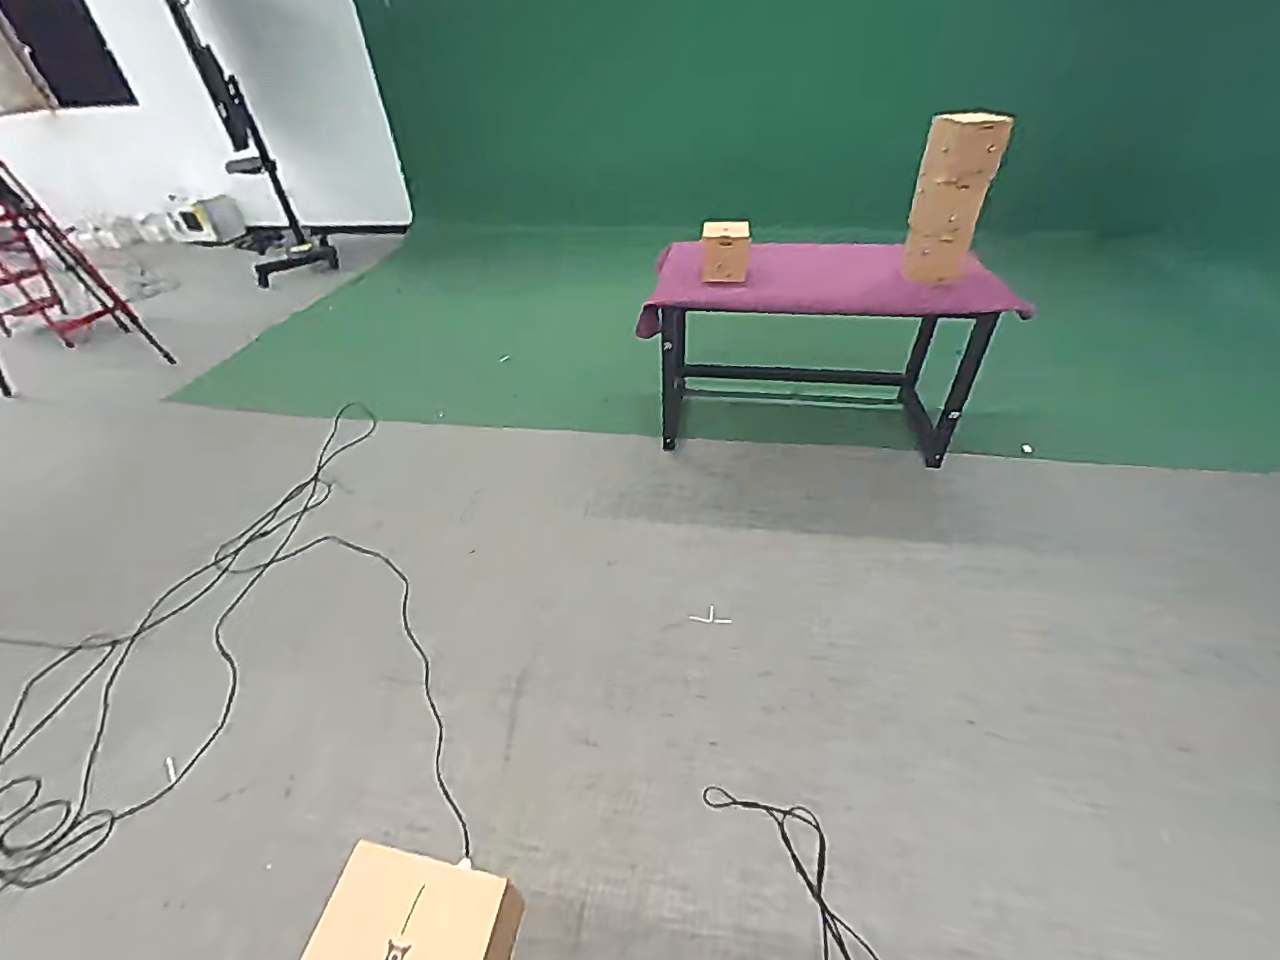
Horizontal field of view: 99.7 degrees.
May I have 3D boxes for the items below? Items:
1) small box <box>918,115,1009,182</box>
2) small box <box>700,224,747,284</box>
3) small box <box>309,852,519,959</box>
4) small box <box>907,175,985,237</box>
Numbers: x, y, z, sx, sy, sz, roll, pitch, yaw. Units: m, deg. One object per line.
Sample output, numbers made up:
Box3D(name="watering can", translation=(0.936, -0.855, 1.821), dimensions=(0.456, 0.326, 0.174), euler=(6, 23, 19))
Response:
Box3D(name="small box", translation=(1.043, -1.074, 1.758), dimensions=(0.168, 0.176, 0.179), euler=(-5, 39, -3))
Box3D(name="small box", translation=(0.318, -0.866, 2.072), dimensions=(0.168, 0.176, 0.179), euler=(3, 42, 6))
Box3D(name="small box", translation=(-0.233, 0.517, 0.554), dimensions=(0.168, 0.176, 0.179), euler=(10, 46, 5))
Box3D(name="small box", translation=(1.044, -0.949, 1.862), dimensions=(0.168, 0.176, 0.179), euler=(1, 40, 6))
